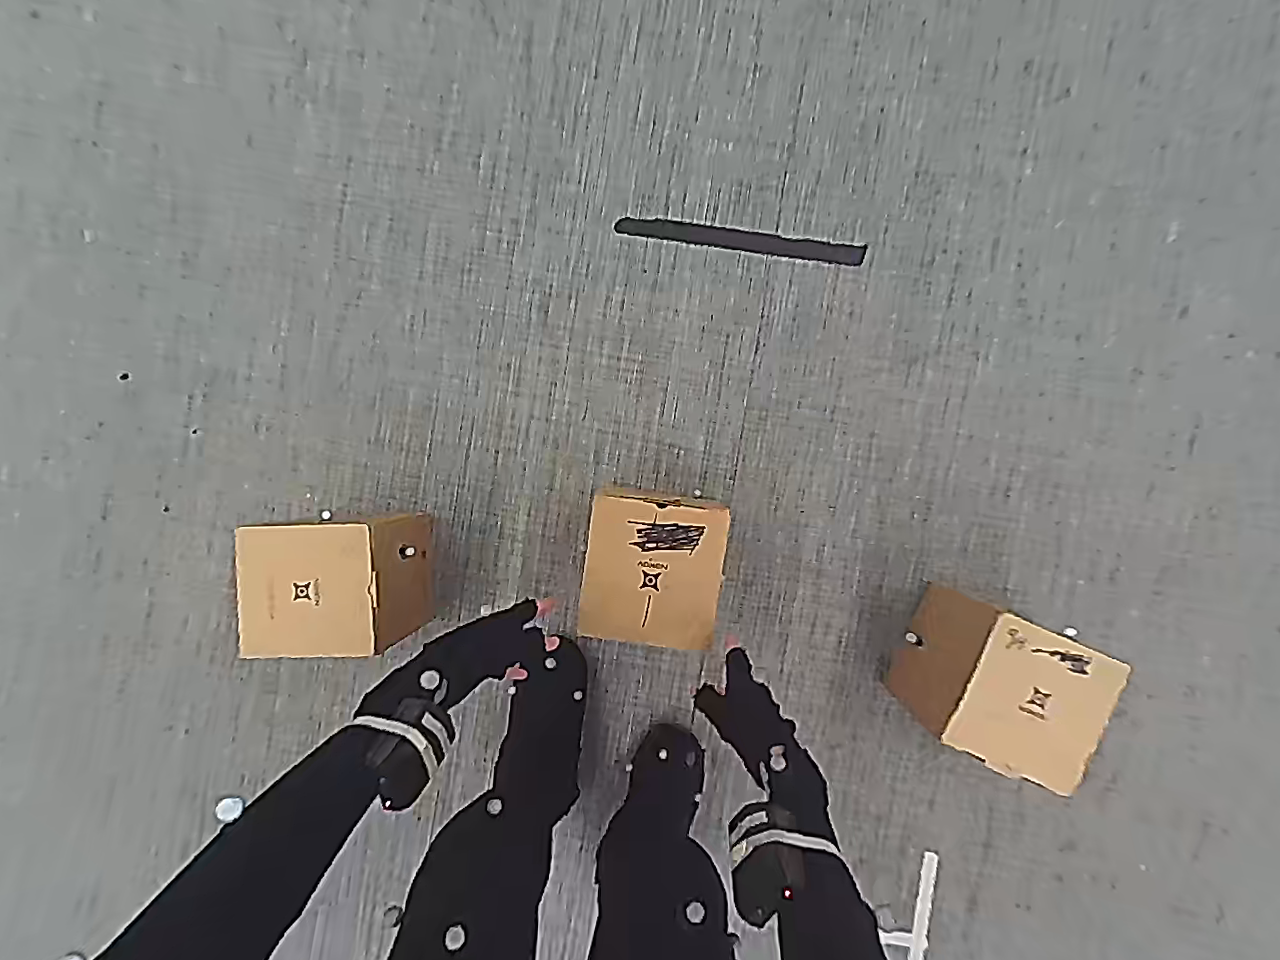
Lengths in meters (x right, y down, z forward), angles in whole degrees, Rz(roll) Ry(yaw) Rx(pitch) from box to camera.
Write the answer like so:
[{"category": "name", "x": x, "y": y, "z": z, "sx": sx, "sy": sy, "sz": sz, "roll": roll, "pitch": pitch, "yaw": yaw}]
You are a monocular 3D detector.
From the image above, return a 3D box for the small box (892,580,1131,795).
[{"category": "small box", "x": 0.462, "y": 0.255, "z": 0.708, "sx": 0.168, "sy": 0.176, "sz": 0.179, "roll": 24, "pitch": 93, "yaw": 1}]

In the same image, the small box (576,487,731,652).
[{"category": "small box", "x": 0.017, "y": 0.105, "z": 0.719, "sx": 0.168, "sy": 0.176, "sz": 0.179, "roll": 8, "pitch": 92, "yaw": 2}]

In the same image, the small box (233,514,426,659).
[{"category": "small box", "x": -0.406, "y": 0.135, "z": 0.738, "sx": 0.179, "sy": 0.176, "sz": 0.168, "roll": -2, "pitch": 90, "yaw": 3}]
